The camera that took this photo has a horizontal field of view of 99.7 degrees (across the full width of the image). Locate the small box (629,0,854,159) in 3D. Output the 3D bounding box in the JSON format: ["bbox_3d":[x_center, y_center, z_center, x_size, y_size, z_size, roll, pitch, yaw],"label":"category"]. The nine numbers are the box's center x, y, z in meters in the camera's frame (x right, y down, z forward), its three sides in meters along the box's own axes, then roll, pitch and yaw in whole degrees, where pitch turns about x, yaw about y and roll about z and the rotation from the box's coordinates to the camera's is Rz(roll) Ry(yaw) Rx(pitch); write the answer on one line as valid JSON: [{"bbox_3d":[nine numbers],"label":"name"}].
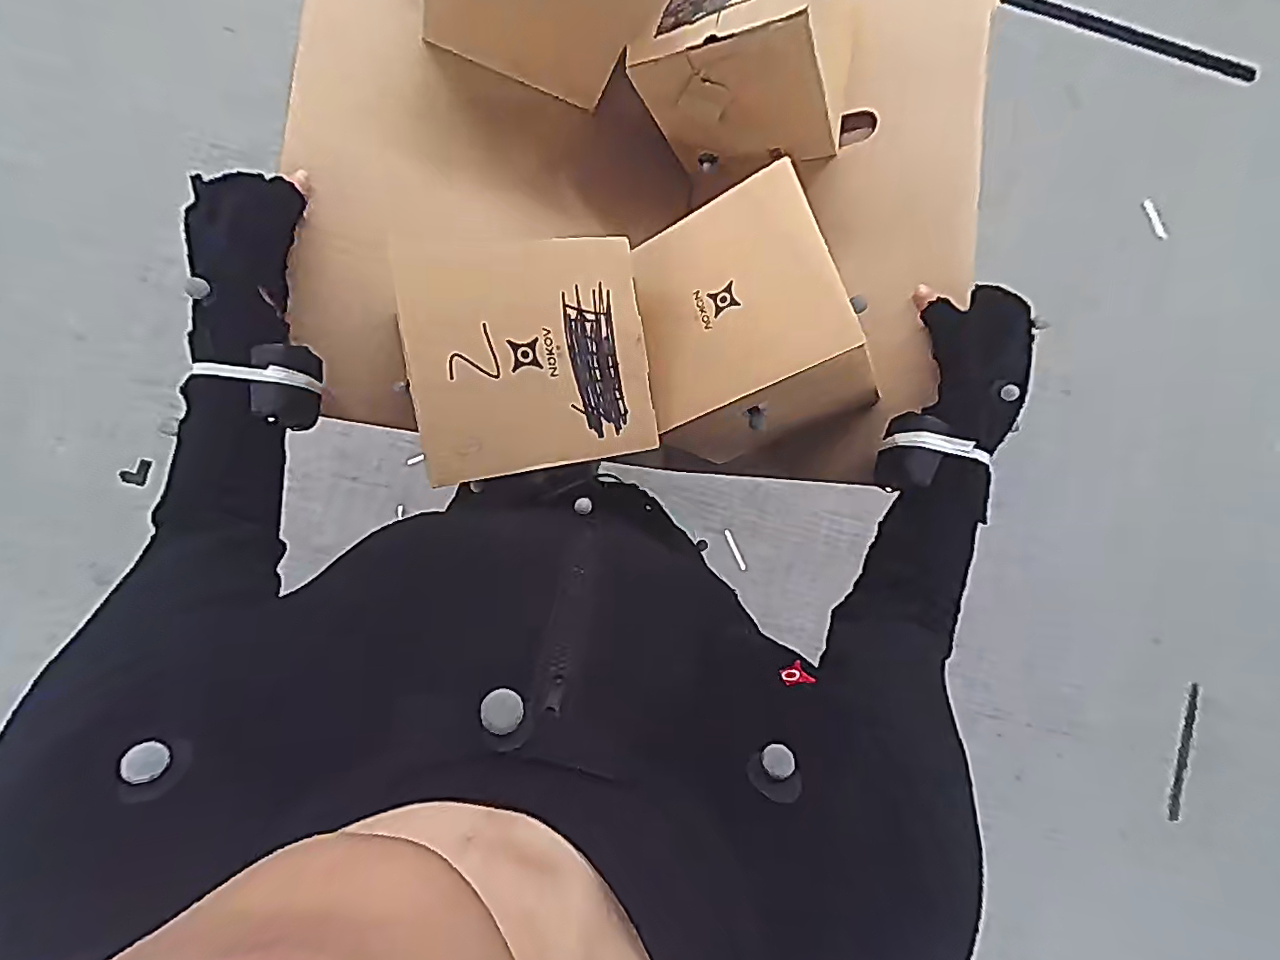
[{"bbox_3d":[0.109,-0.450,0.534,0.168,0.176,0.179,7,85,28],"label":"small box"}]
